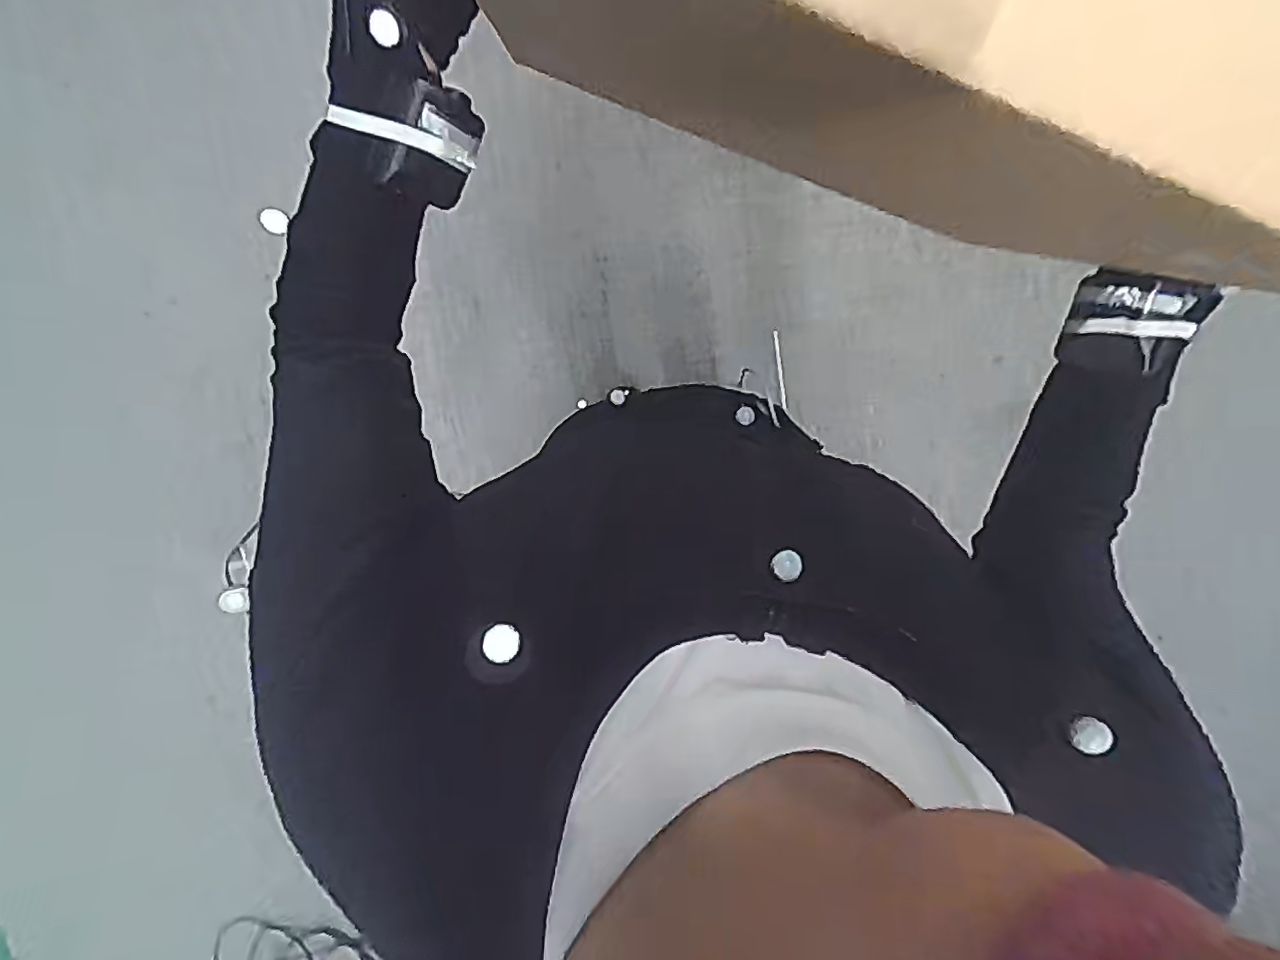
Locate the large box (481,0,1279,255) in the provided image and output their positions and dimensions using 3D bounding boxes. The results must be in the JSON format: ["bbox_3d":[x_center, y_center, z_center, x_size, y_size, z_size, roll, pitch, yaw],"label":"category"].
[{"bbox_3d":[0.149,-0.317,0.225,0.408,0.320,0.320,13,118,-13],"label":"large box"}]
